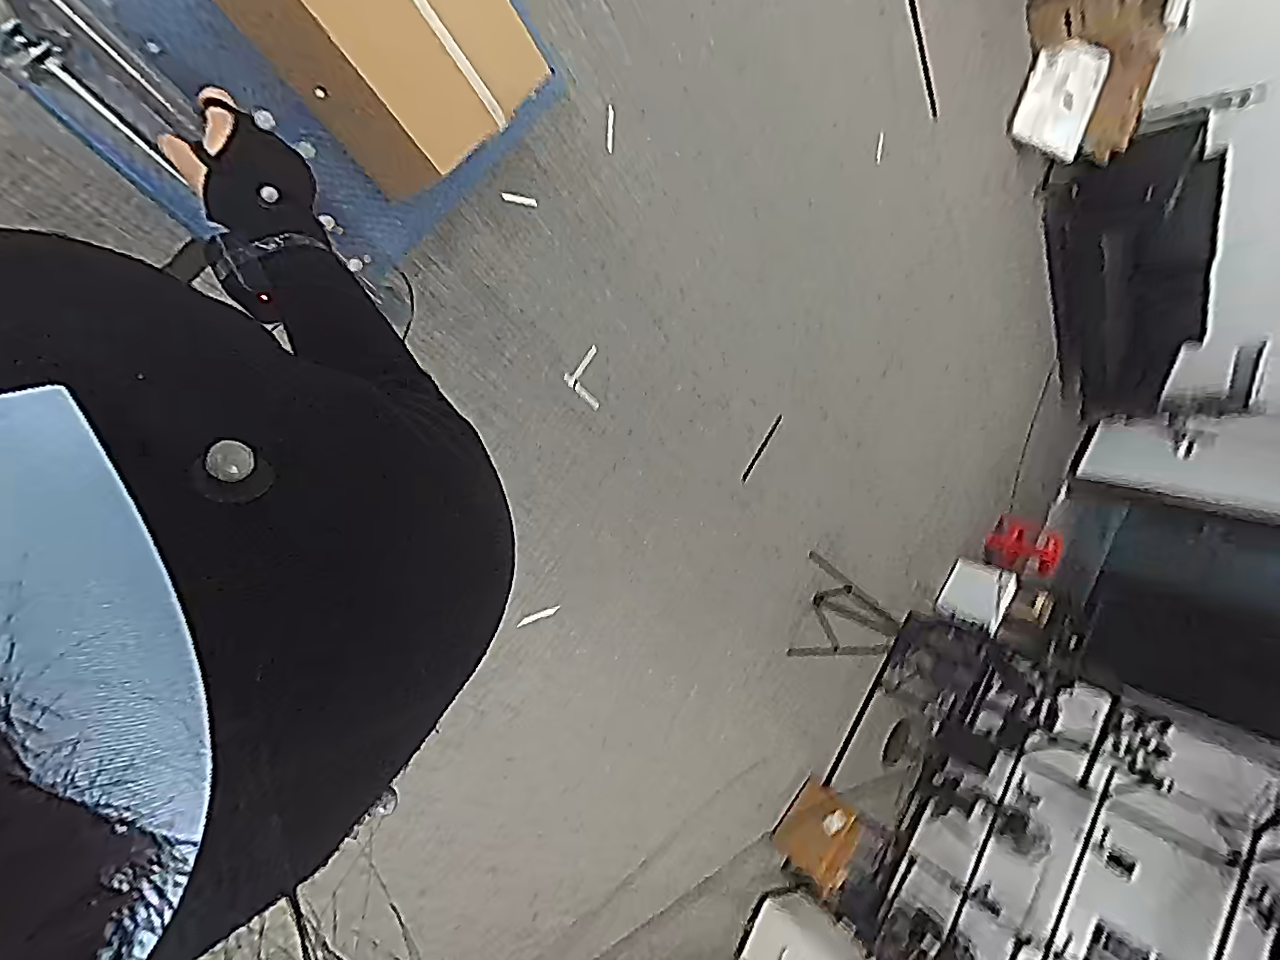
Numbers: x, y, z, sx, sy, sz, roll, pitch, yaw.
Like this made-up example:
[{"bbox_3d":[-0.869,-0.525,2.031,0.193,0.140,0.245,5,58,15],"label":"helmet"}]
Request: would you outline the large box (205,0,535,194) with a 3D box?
[{"bbox_3d":[-0.481,-0.814,0.978,0.320,0.320,0.408,-55,130,-15],"label":"large box"}]
